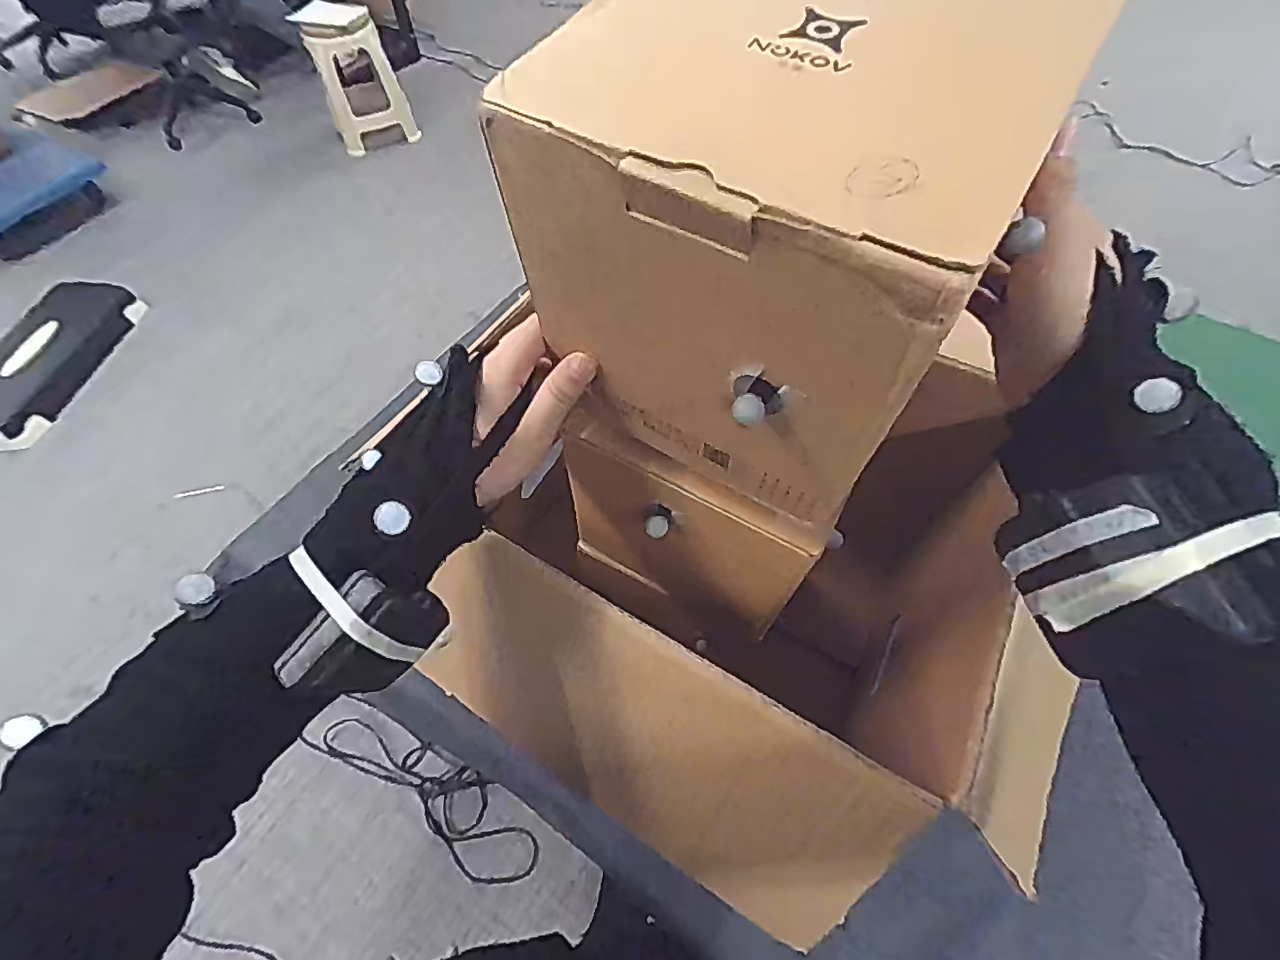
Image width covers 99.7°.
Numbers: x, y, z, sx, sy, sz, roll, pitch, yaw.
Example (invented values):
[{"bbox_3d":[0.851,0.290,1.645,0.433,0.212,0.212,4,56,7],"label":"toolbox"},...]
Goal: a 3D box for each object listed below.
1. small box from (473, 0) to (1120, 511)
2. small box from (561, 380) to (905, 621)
[{"bbox_3d":[0.062,-0.113,0.253,0.168,0.176,0.179,29,68,16],"label":"small box"},{"bbox_3d":[0.065,-0.012,0.419,0.179,0.176,0.168,27,62,16],"label":"small box"}]
